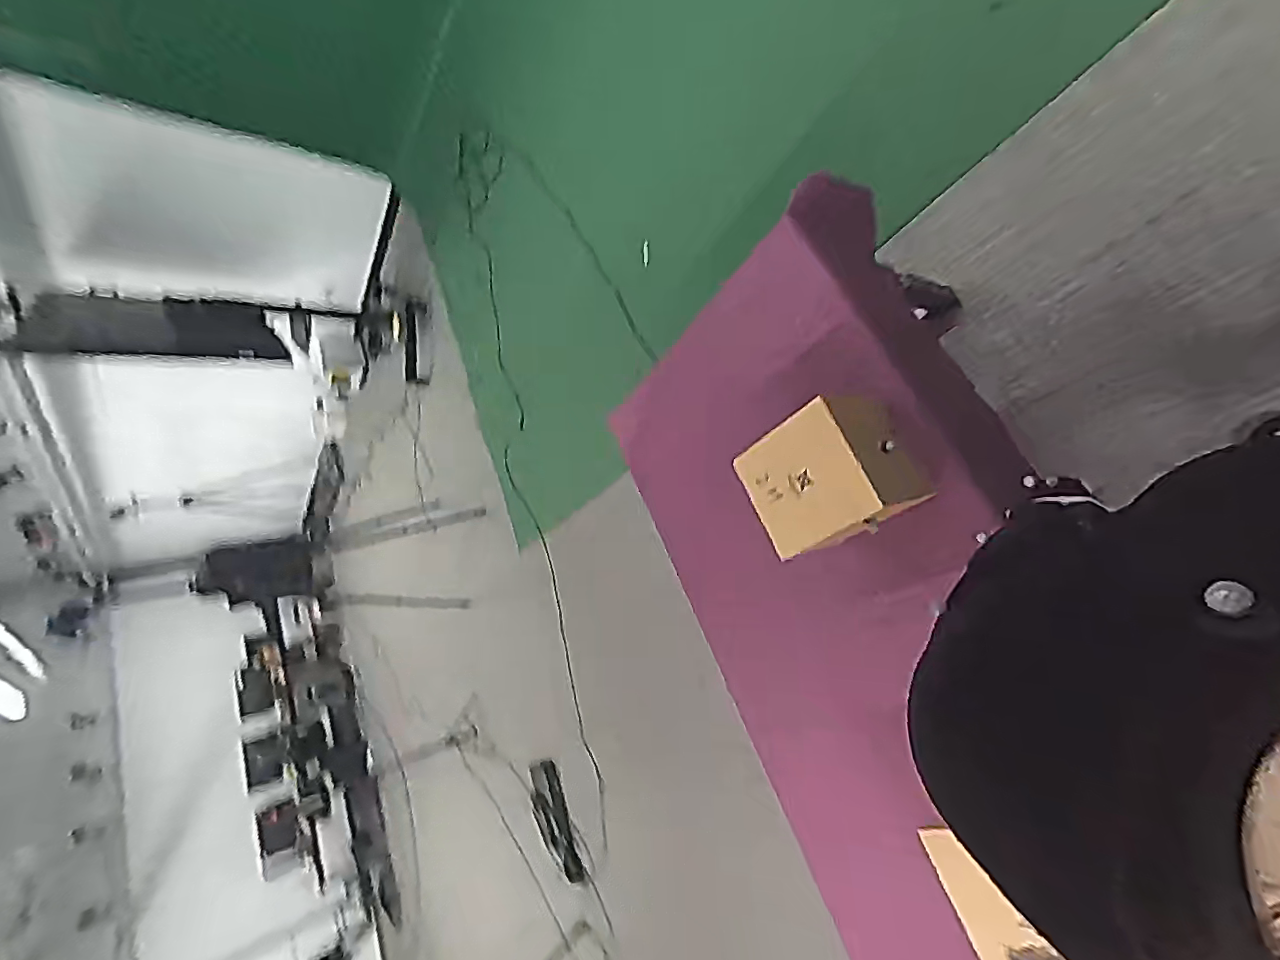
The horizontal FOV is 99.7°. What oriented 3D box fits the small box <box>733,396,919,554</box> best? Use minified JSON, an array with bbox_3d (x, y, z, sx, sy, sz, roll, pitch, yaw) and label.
[{"bbox_3d":[0.278,-0.011,0.797,0.179,0.176,0.168,-41,65,44],"label":"small box"}]
